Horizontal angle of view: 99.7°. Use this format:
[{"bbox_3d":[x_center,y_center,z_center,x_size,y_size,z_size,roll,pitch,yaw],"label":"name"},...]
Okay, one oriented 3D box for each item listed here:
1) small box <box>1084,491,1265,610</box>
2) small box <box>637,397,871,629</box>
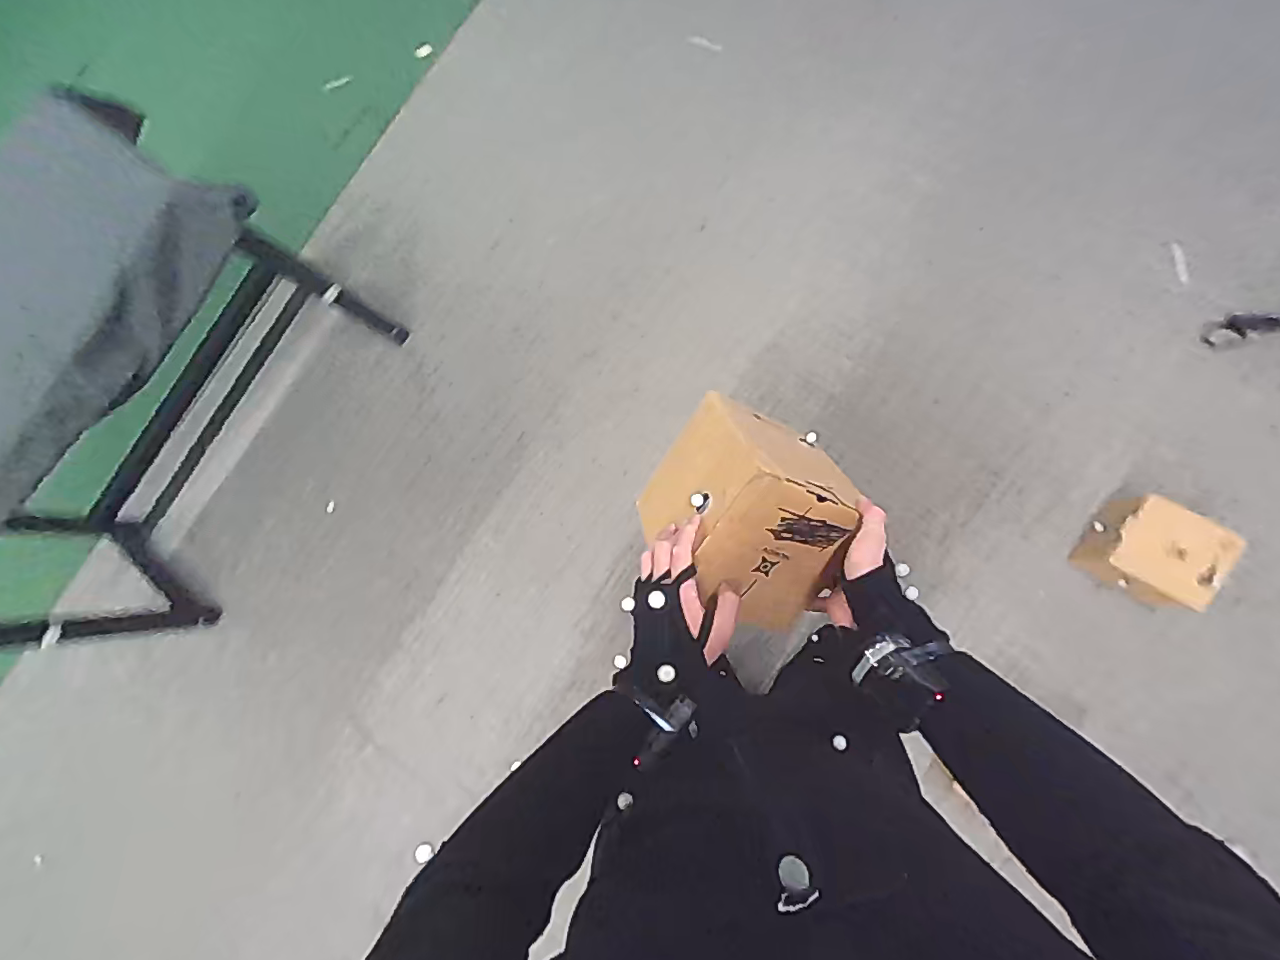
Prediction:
[{"bbox_3d":[1.072,0.146,1.106,0.179,0.176,0.168,33,92,19],"label":"small box"},{"bbox_3d":[0.110,0.033,0.609,0.168,0.176,0.179,20,118,-22],"label":"small box"}]
